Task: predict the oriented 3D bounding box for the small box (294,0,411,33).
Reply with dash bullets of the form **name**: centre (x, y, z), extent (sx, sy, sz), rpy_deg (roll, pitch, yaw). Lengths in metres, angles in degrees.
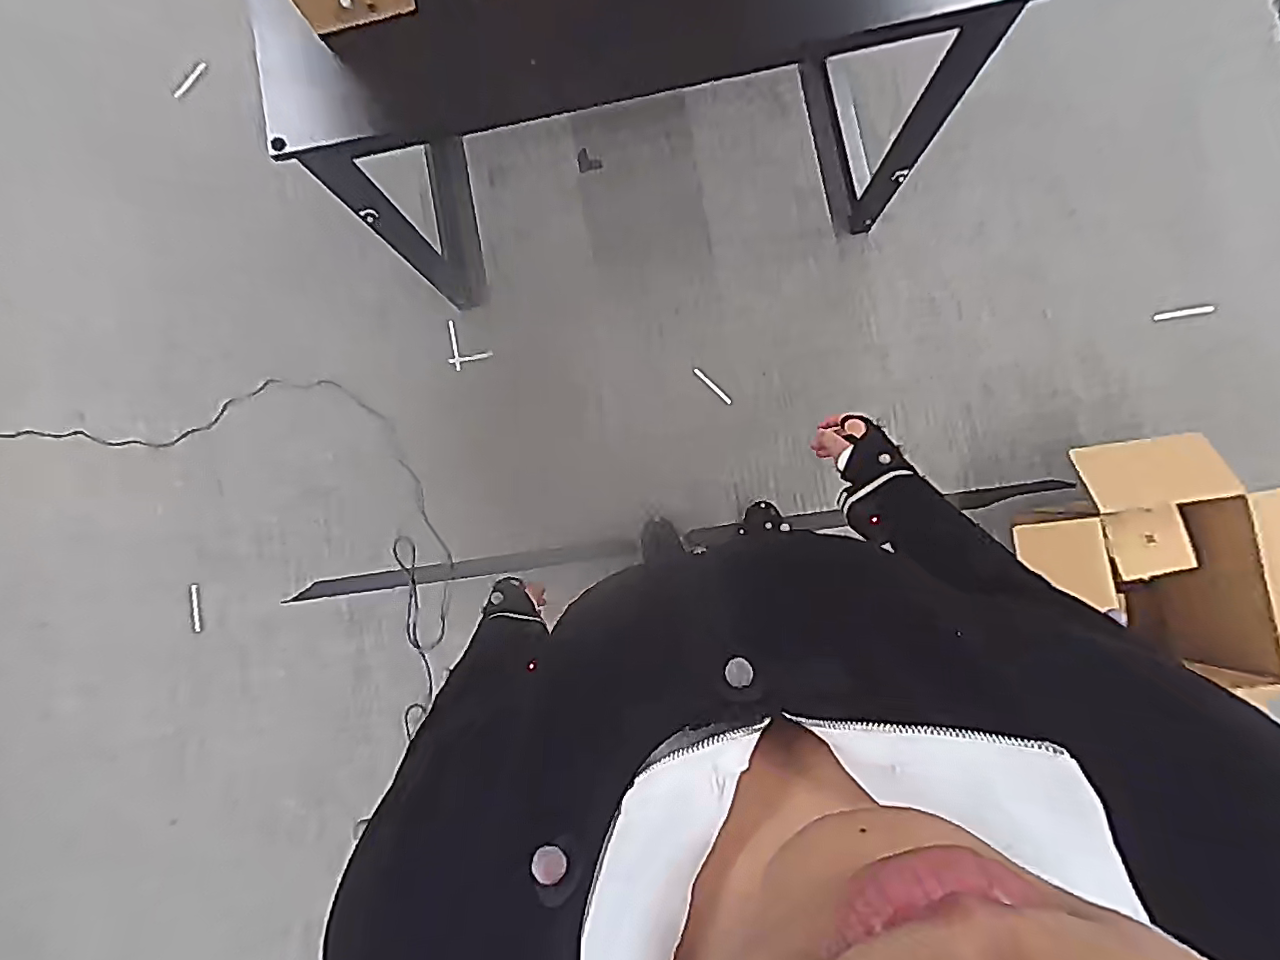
- **small box**: centre (-0.456, -0.807, 0.777), extent (0.168, 0.176, 0.179), rpy_deg (-12, 87, 3)
